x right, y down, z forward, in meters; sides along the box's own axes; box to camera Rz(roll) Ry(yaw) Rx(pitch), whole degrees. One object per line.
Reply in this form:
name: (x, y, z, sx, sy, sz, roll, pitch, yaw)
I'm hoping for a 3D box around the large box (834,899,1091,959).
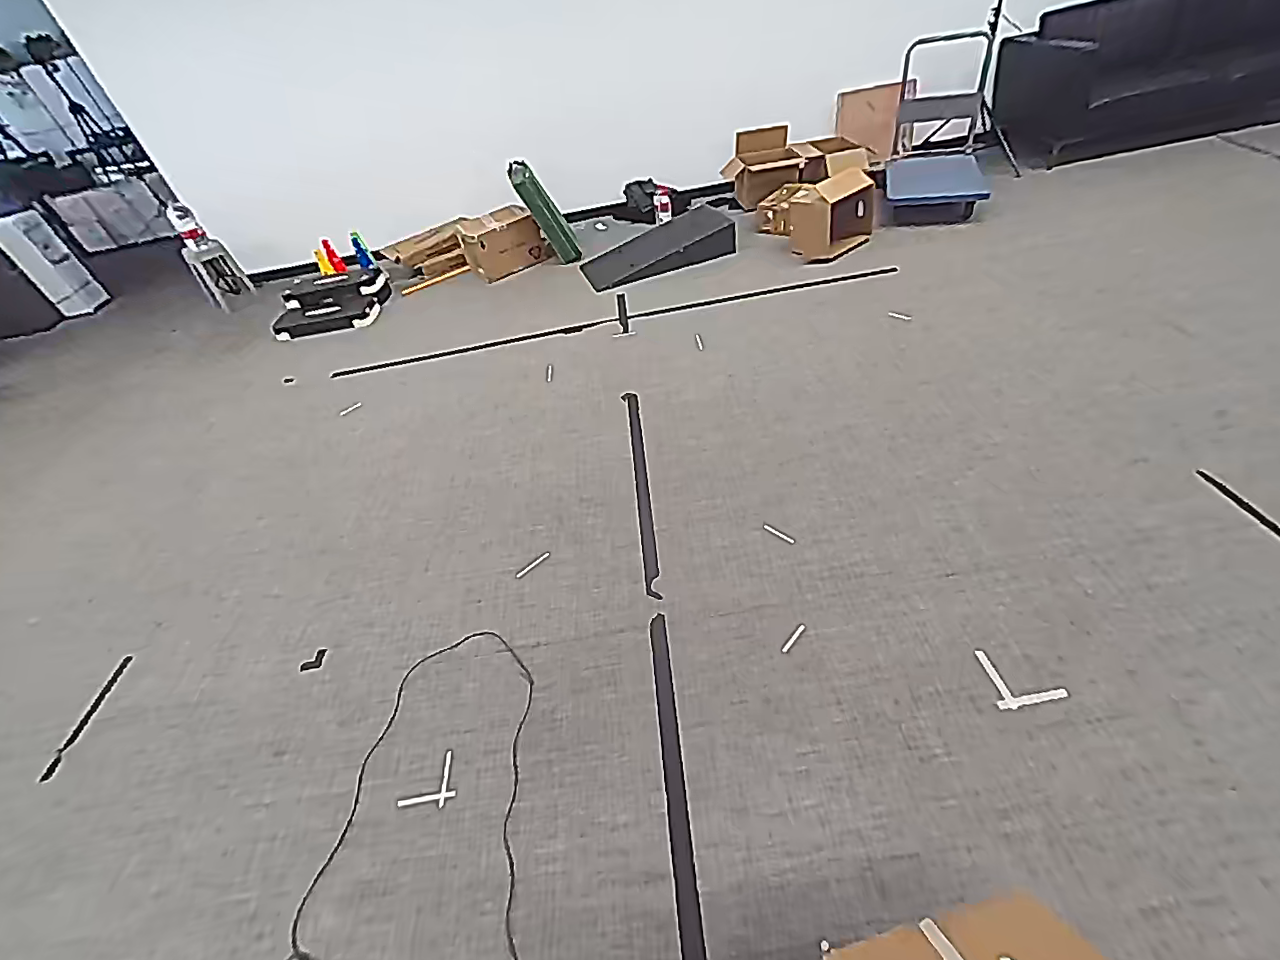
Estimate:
large box: (0.448, 0.758, 0.559, 0.320, 0.408, 0.320, -15, 81, -2)
